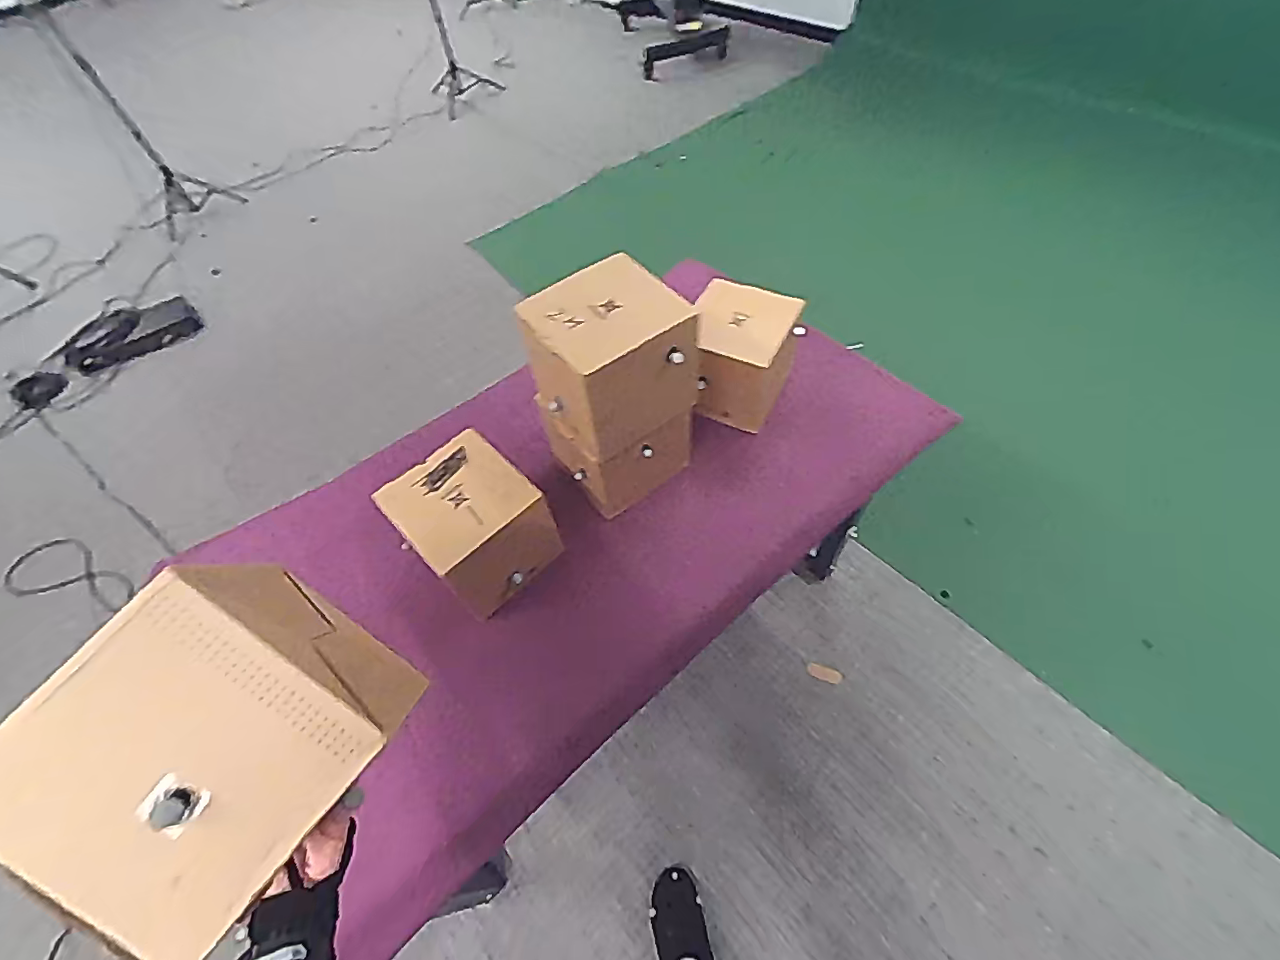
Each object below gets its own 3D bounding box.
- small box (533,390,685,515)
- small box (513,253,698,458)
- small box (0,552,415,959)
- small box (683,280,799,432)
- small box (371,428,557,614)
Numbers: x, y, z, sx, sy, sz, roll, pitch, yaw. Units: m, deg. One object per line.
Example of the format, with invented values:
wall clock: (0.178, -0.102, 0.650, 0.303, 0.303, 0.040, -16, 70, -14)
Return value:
small box: (-0.042, -0.075, 0.869, 0.179, 0.176, 0.168, -33, 60, -18)
small box: (-0.042, -0.165, 0.732, 0.179, 0.176, 0.168, -33, 59, -17)
small box: (-0.286, 0.171, 0.385, 0.179, 0.168, 0.176, 41, 76, -5)
small box: (0.161, -0.213, 0.950, 0.168, 0.176, 0.179, 22, 60, 19)
small box: (-0.245, 0.064, 0.786, 0.168, 0.176, 0.179, -40, 63, -21)
